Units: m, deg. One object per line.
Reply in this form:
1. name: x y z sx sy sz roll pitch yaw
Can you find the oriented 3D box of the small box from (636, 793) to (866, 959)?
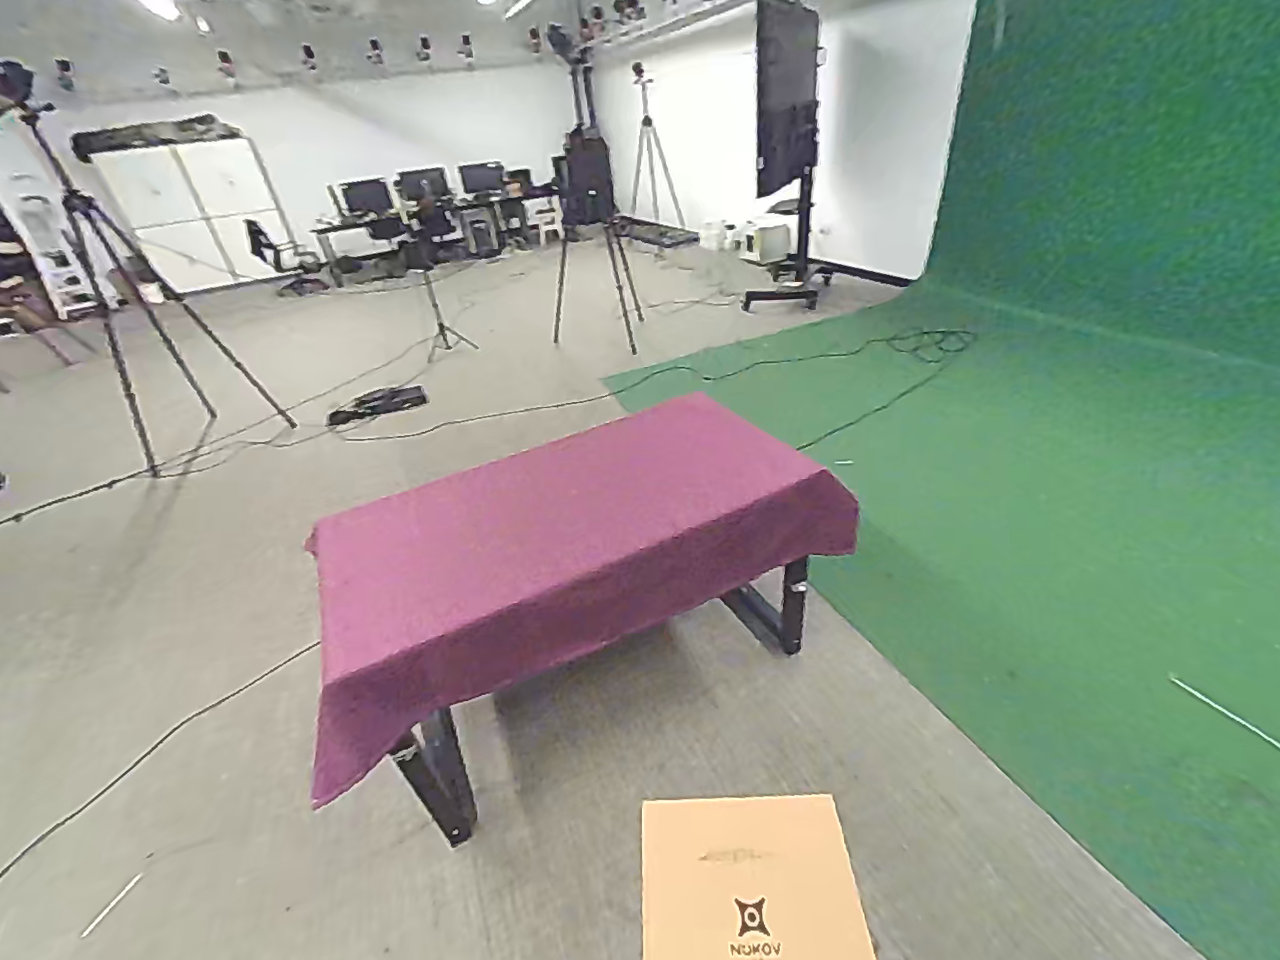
1. small box: 0.084 0.390 0.451 0.168 0.176 0.179 -3 37 2
